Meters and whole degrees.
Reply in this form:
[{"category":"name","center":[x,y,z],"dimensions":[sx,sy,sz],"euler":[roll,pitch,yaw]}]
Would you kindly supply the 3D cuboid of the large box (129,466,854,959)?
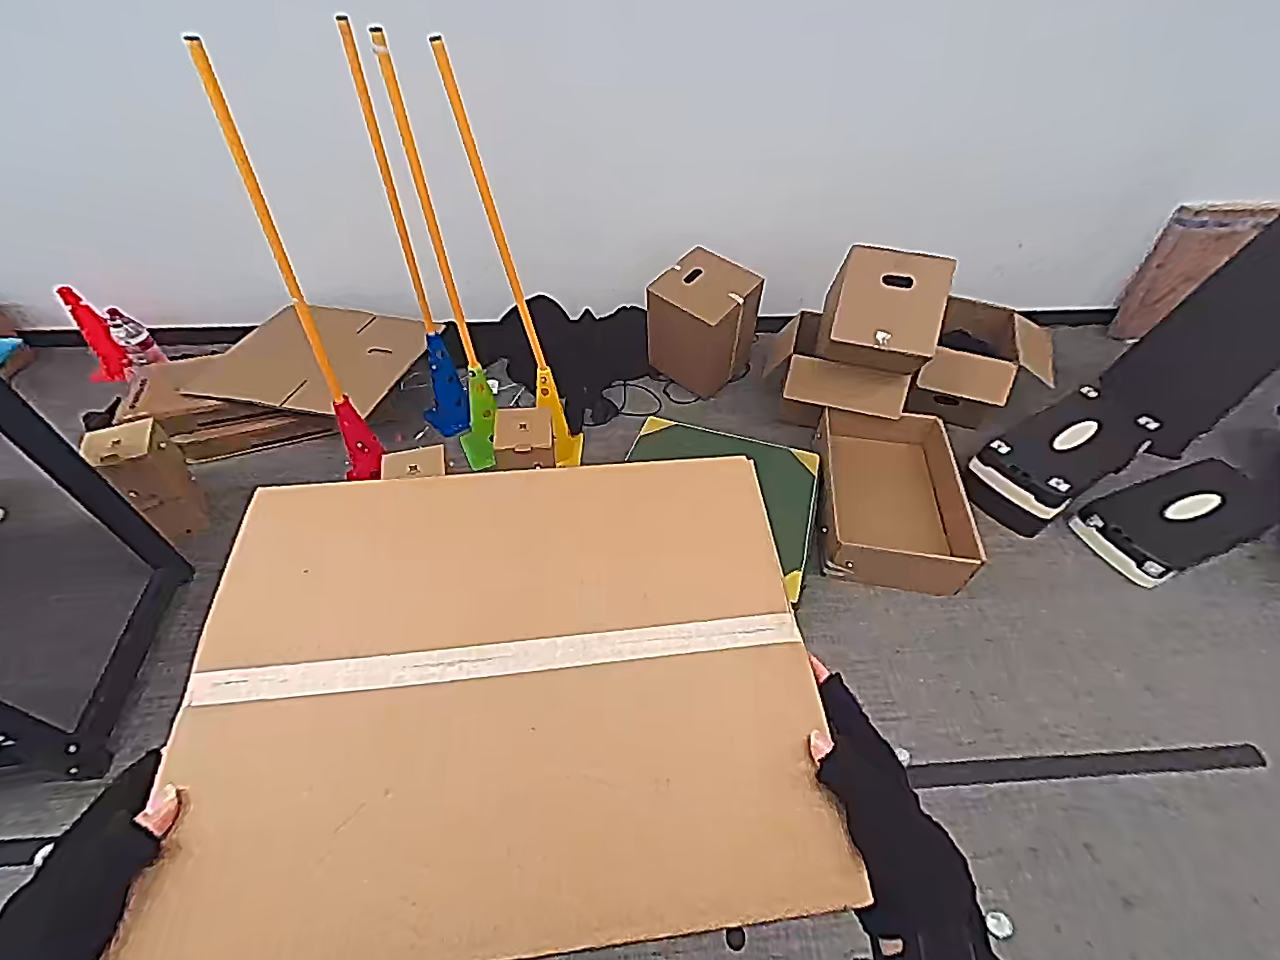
[{"category":"large box","center":[-0.092,0.212,0.496],"dimensions":[0.408,0.320,0.320],"euler":[-4,56,-5]}]
